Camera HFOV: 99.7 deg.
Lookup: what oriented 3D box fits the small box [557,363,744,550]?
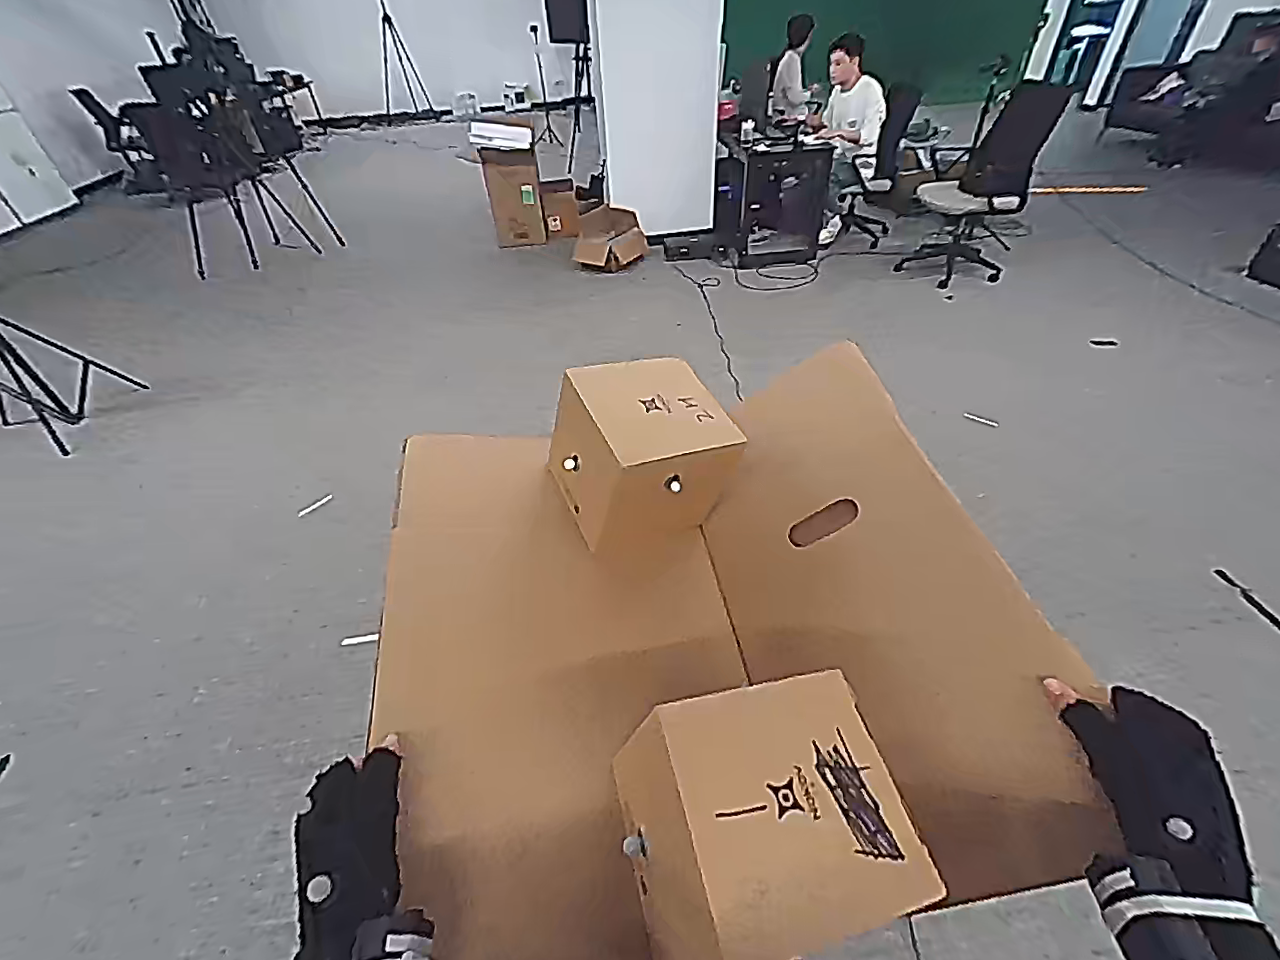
[{"bbox_3d":[0.000,-0.030,0.709,0.179,0.176,0.168,-12,54,-28],"label":"small box"}]
